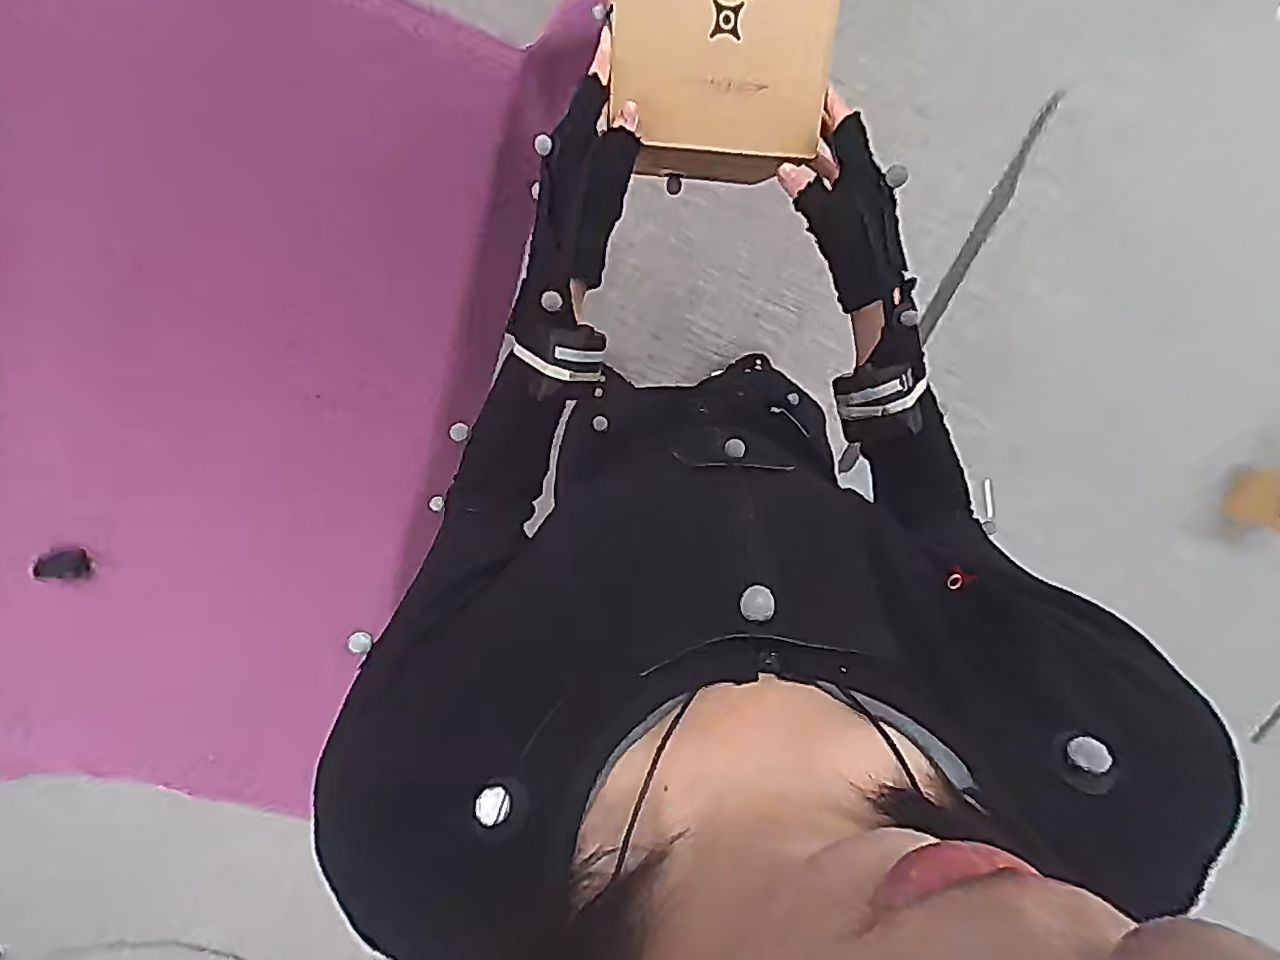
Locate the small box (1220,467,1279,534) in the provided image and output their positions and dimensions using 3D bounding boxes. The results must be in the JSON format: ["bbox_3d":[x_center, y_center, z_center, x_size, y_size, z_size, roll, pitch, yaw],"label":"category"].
[{"bbox_3d":[1.851,0.069,1.551,0.179,0.176,0.168,11,105,-6],"label":"small box"}]

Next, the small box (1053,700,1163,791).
[{"bbox_3d":[1.523,0.861,1.768,0.179,0.176,0.168,37,102,-12],"label":"small box"}]
